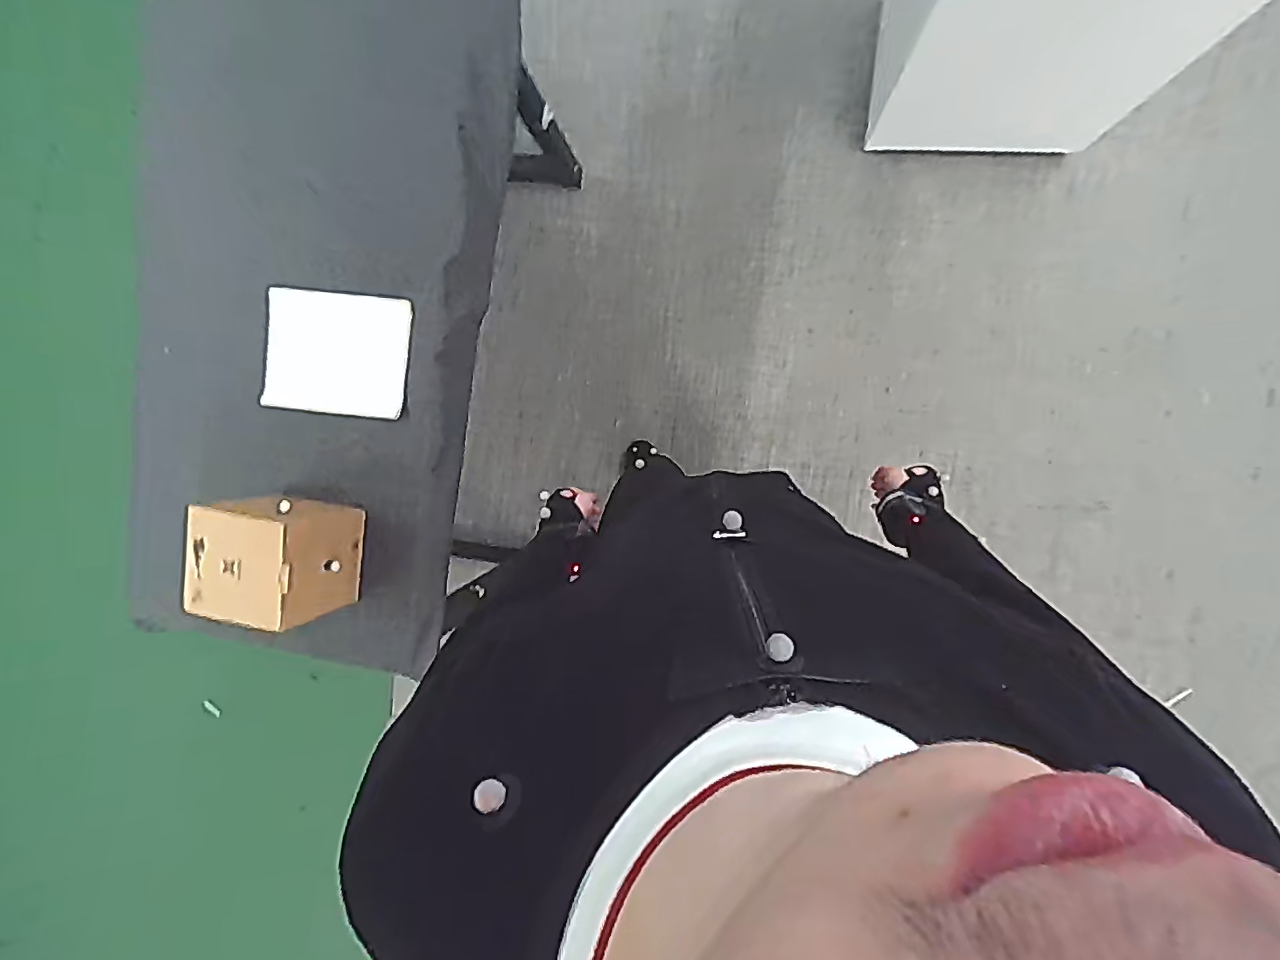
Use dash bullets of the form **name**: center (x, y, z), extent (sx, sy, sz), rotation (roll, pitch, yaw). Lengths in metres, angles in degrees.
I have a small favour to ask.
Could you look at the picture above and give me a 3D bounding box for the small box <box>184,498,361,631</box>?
- **small box**: center (-0.588, 0.127, 0.882), extent (0.179, 0.176, 0.168), rotation (8, 95, 9)
